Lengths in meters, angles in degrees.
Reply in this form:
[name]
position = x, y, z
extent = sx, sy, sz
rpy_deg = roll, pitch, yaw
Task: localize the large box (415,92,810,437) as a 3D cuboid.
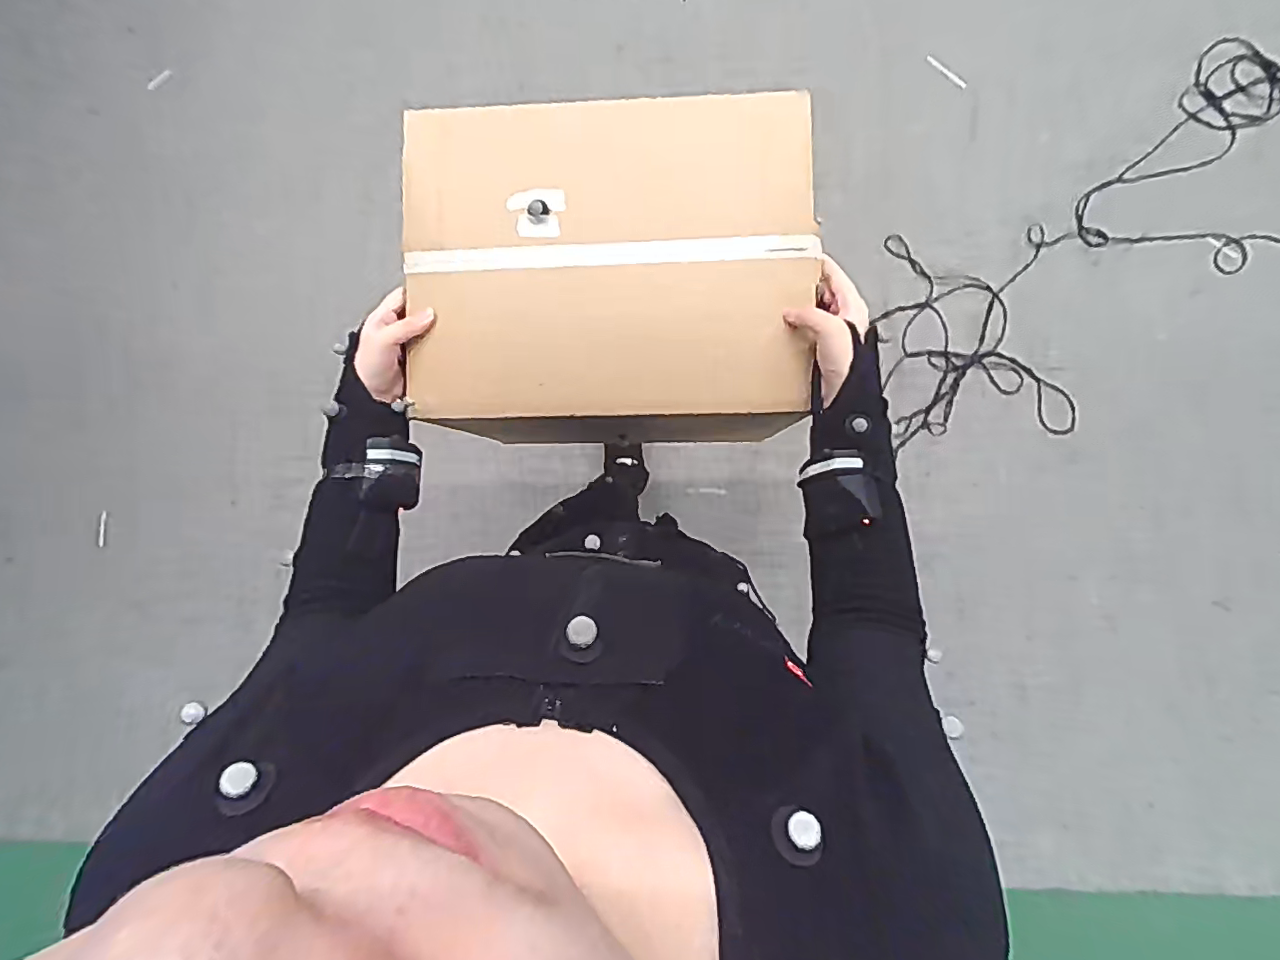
[large box]
position = -0.021, -0.224, 0.695
extent = 0.408, 0.320, 0.320
rpy_deg = -1, 88, 5
